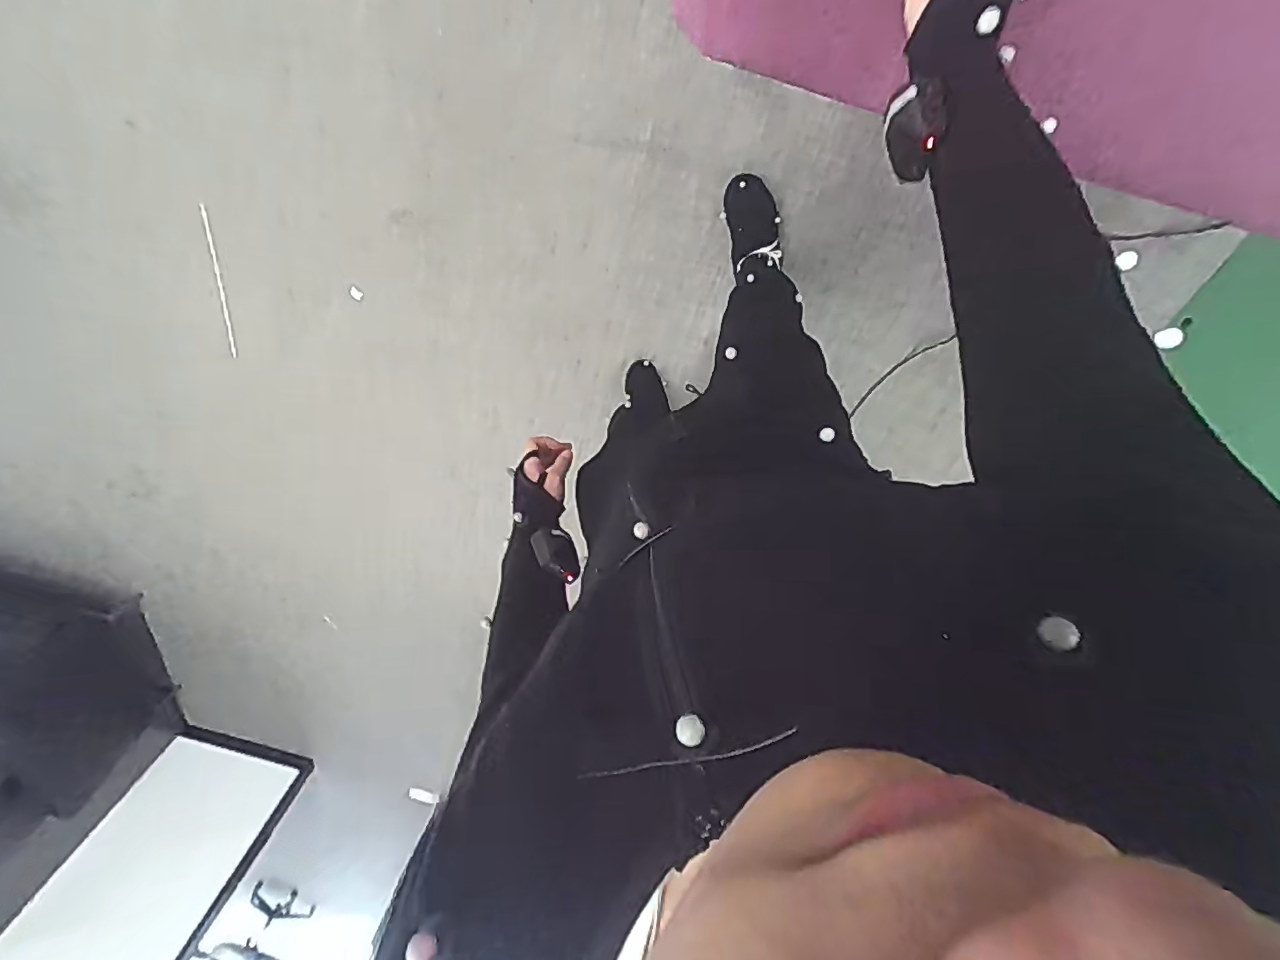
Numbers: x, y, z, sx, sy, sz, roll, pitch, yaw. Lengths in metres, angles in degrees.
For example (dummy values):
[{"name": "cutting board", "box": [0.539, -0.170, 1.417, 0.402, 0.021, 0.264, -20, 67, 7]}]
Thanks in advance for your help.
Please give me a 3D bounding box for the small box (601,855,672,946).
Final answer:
[{"name": "small box", "box": [-0.006, 1.346, 1.733, 0.168, 0.176, 0.179, 22, 125, -5]}]
